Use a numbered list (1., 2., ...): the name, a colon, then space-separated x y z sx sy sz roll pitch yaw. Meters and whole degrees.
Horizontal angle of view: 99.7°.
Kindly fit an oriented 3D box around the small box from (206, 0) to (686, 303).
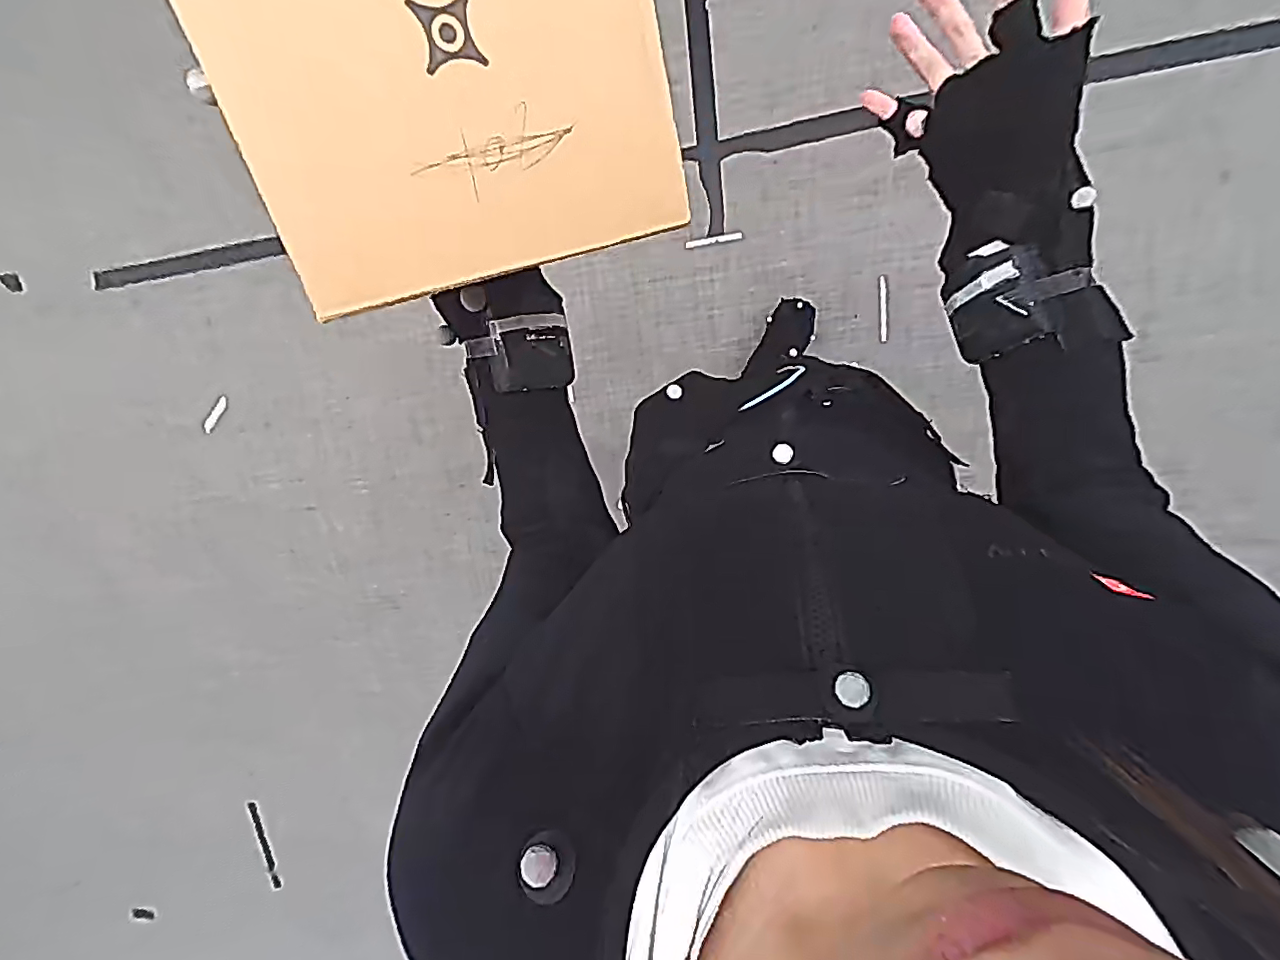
1. small box: -0.096 -0.199 0.280 0.168 0.176 0.179 -19 114 -12
